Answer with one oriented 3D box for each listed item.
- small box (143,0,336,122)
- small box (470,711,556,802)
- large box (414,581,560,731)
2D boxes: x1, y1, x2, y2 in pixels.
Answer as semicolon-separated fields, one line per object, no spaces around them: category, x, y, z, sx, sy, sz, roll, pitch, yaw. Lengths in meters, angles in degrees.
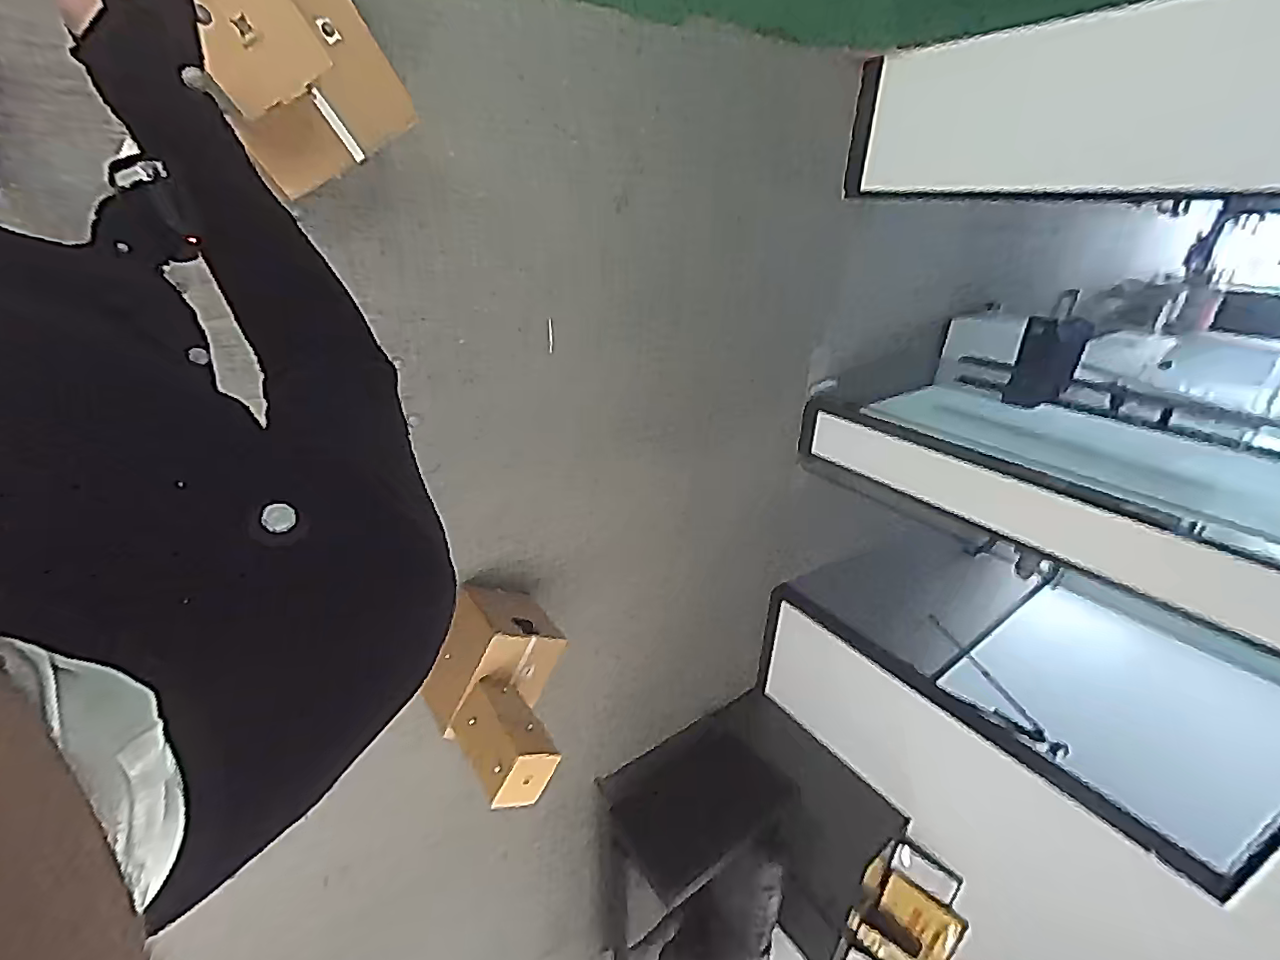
small box;-0.613;-0.683;0.833;0.168;0.176;0.179;-43;133;-13
small box;-0.391;0.833;1.635;0.168;0.176;0.179;27;93;-44
large box;-0.561;0.631;1.959;0.320;0.320;0.408;22;97;-46
